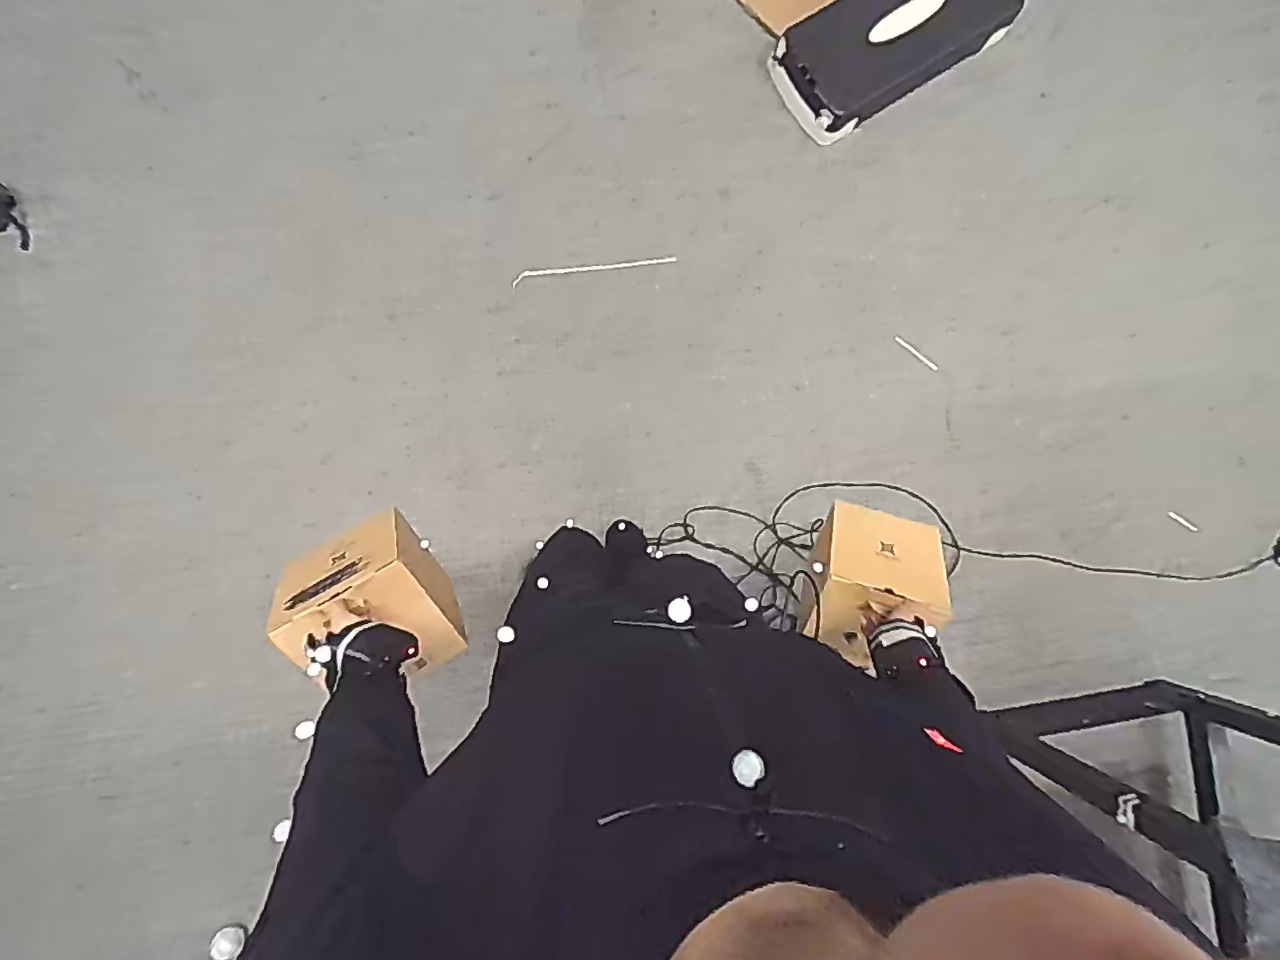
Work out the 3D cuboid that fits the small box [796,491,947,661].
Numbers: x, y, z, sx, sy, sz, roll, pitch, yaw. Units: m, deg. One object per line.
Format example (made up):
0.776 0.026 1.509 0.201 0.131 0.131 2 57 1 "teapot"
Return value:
0.354 0.150 0.855 0.168 0.176 0.179 15 42 10 "small box"
